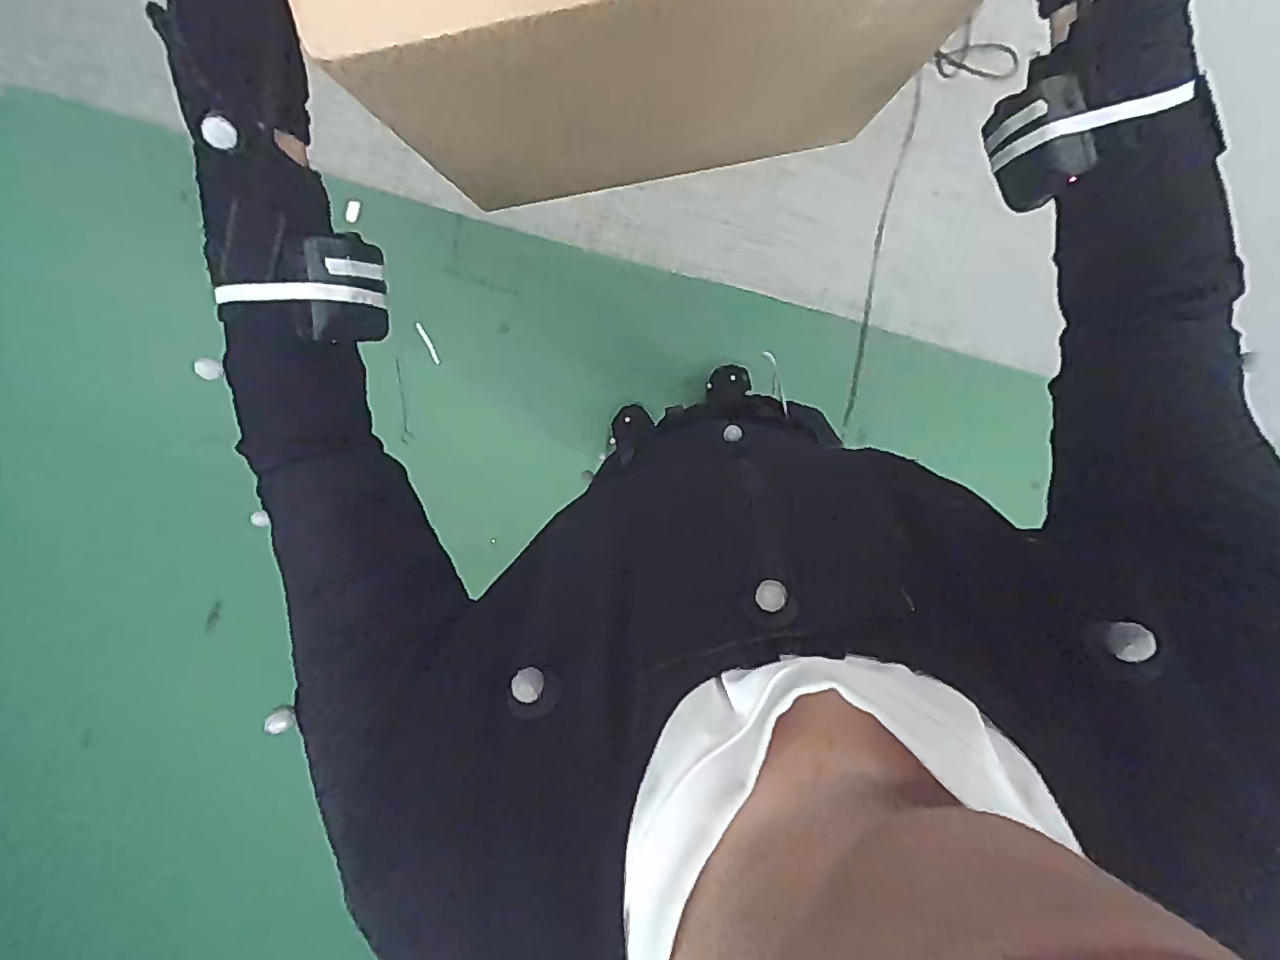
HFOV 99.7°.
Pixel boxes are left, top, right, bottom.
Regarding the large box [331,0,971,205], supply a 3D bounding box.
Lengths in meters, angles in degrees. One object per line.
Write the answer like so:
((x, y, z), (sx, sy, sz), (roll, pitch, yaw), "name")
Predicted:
((0.005, -0.443, 0.401), (0.408, 0.320, 0.320), (-9, 103, 2), "large box")
